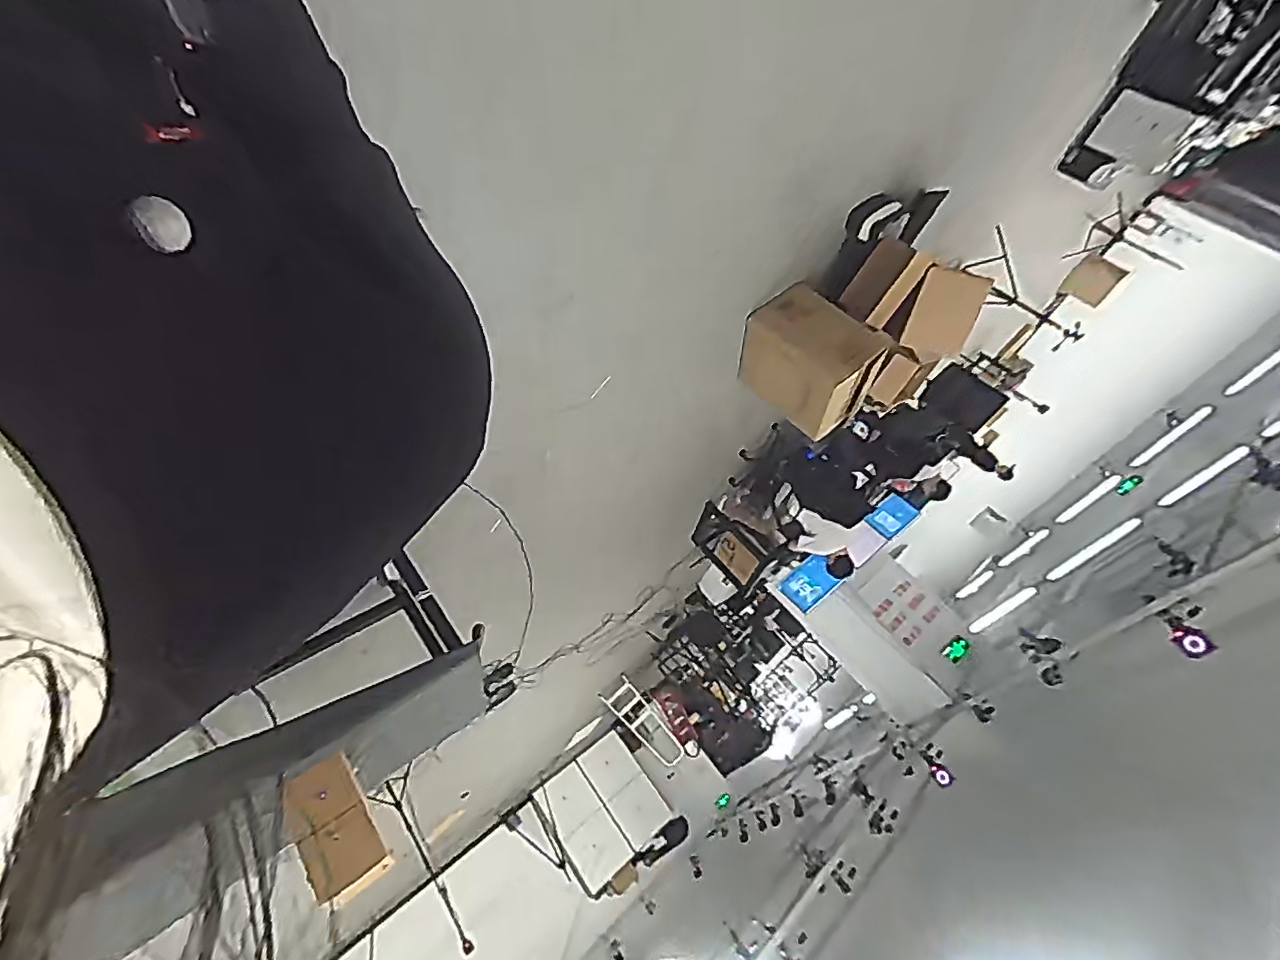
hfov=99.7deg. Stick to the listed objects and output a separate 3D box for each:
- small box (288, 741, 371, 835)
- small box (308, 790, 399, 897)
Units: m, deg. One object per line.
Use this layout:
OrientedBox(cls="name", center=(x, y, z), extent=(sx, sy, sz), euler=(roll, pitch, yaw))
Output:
OrientedBox(cls="small box", center=(-0.900, 0.904, 1.575), extent=(0.179, 0.176, 0.168), euler=(-24, 153, -35))
OrientedBox(cls="small box", center=(-0.800, 1.010, 1.508), extent=(0.179, 0.176, 0.168), euler=(-25, 152, -33))
